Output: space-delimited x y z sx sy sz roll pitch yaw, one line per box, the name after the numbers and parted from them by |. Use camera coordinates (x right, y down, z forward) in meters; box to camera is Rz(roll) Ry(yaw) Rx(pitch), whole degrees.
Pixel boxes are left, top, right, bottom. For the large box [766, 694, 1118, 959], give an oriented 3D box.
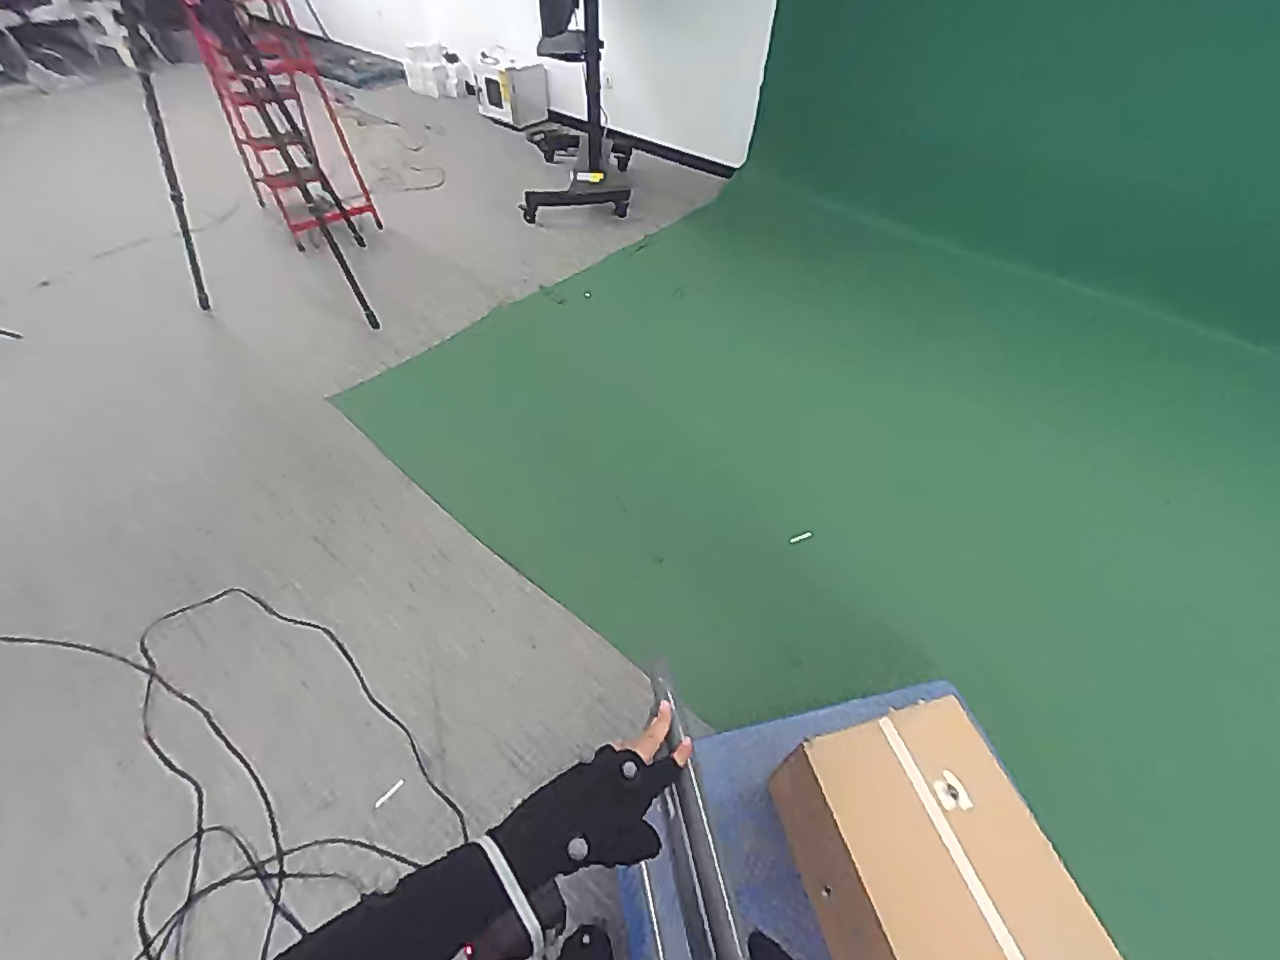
0.470 0.667 0.959 0.320 0.320 0.408 -10 49 -12 | large box
